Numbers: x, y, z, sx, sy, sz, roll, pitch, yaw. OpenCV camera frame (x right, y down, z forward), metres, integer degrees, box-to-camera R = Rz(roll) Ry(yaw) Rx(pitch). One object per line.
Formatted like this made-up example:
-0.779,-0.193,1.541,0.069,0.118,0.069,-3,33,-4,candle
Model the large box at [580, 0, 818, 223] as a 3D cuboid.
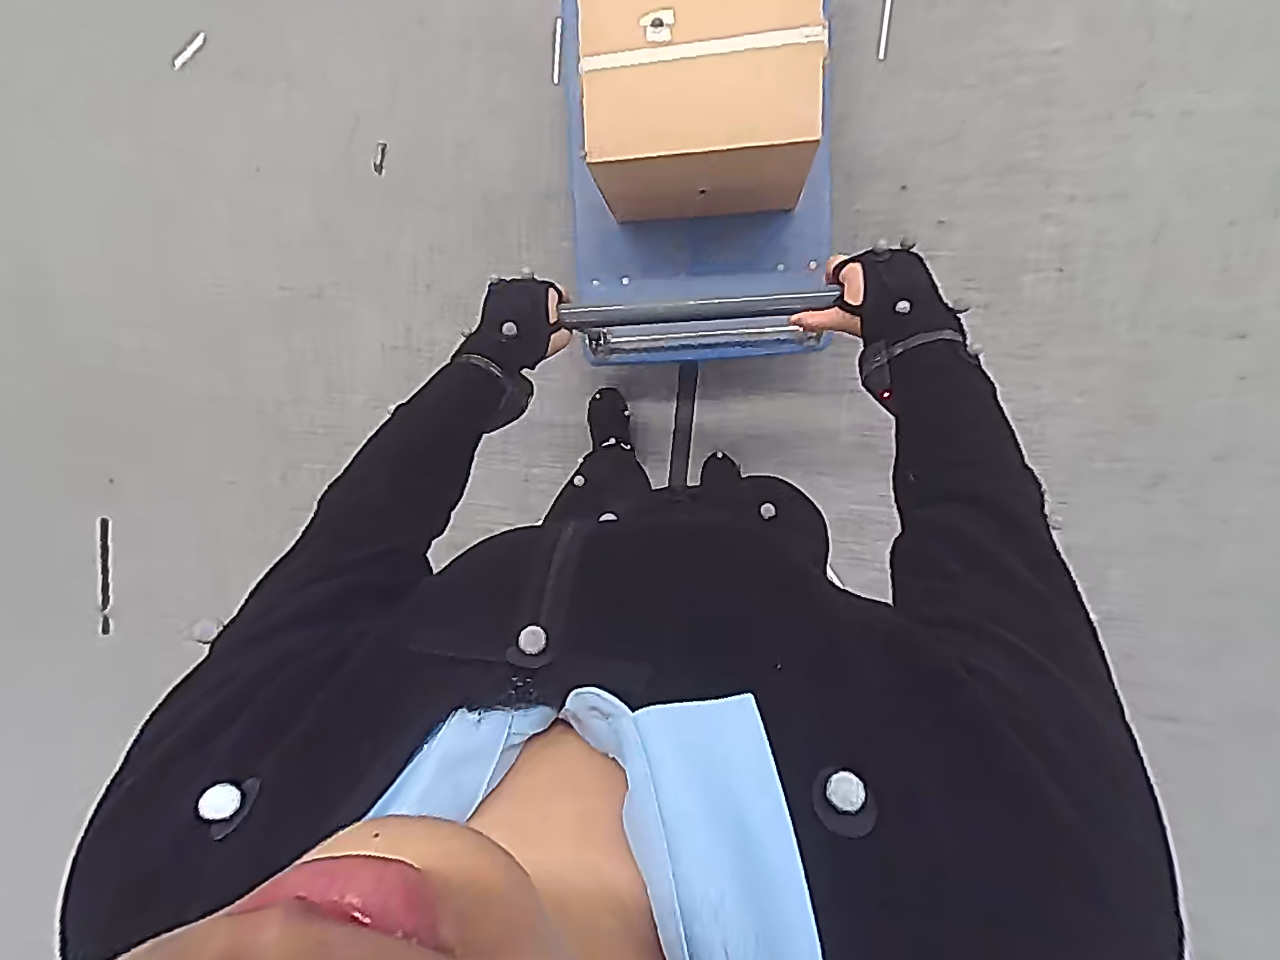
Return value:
0.122,-0.736,1.074,0.408,0.320,0.320,-1,96,9,large box
